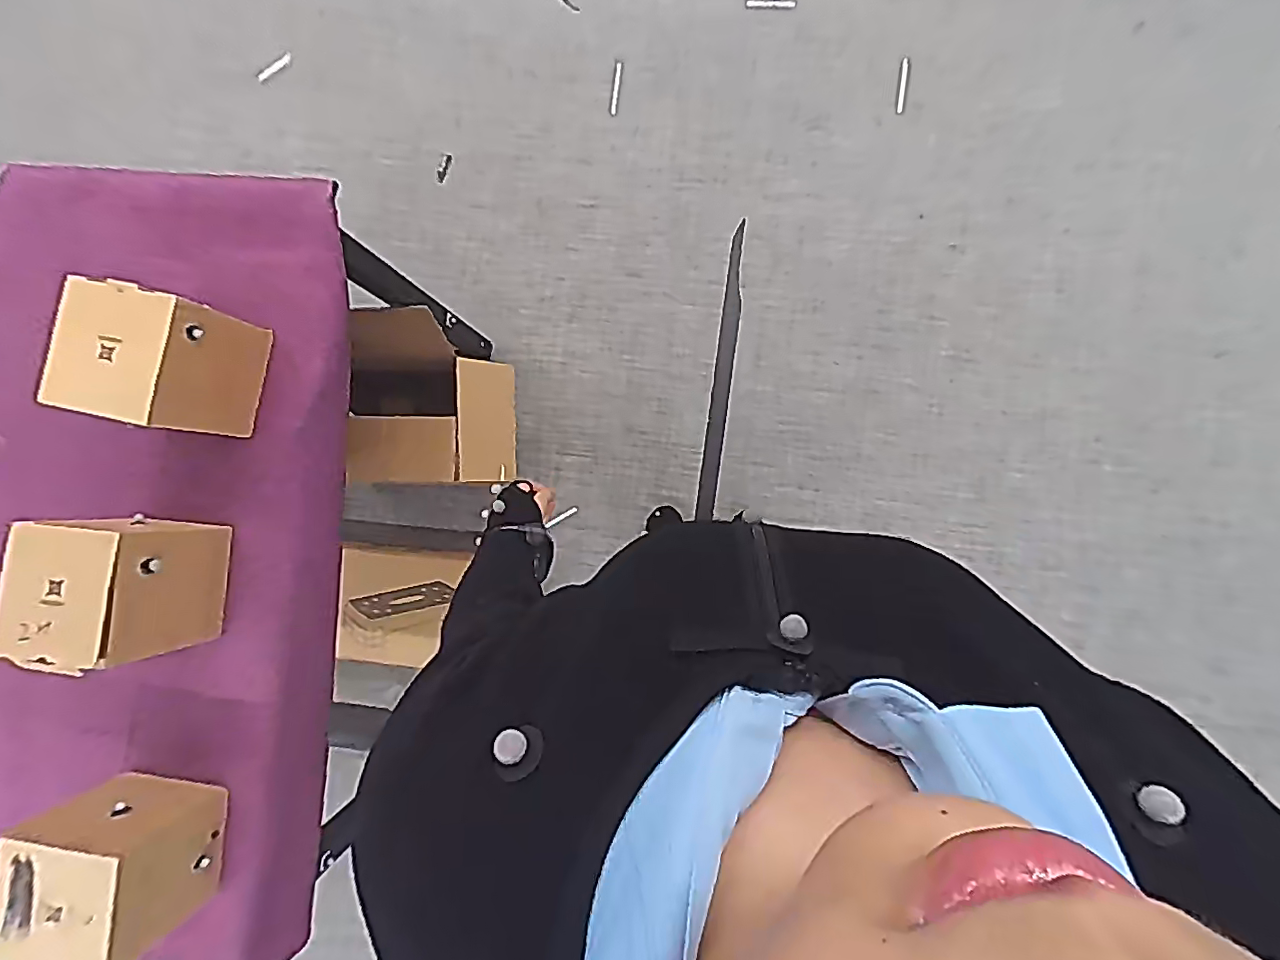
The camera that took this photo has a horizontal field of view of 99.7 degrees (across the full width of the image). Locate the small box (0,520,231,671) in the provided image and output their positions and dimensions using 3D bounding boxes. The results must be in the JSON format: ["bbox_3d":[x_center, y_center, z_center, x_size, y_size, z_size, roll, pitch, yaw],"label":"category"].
[{"bbox_3d":[-0.727,0.150,0.767,0.168,0.176,0.179,4,88,8],"label":"small box"}]

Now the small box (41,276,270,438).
[{"bbox_3d":[-0.677,-0.164,0.776,0.168,0.176,0.179,12,89,6],"label":"small box"}]
